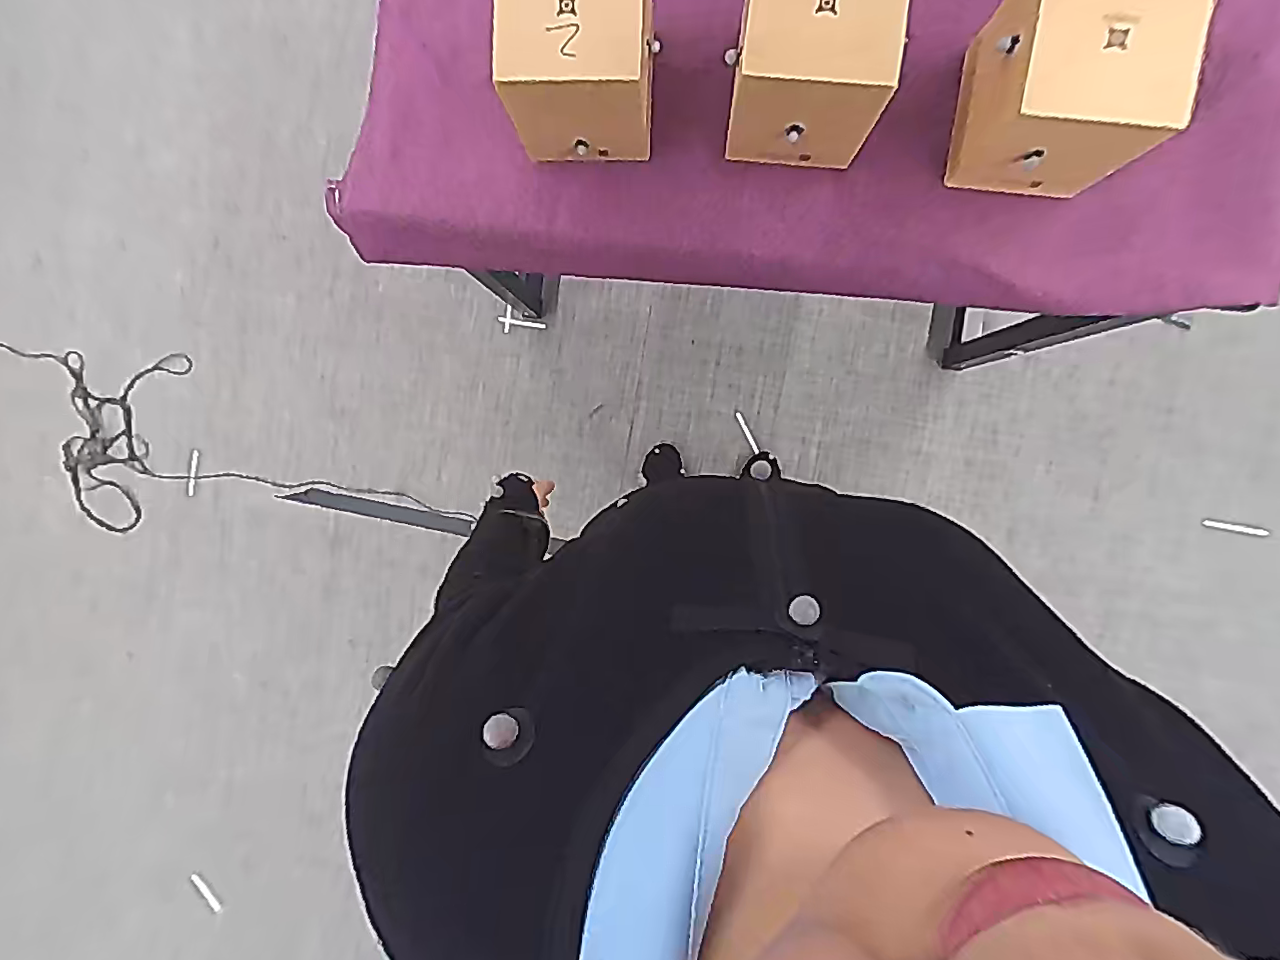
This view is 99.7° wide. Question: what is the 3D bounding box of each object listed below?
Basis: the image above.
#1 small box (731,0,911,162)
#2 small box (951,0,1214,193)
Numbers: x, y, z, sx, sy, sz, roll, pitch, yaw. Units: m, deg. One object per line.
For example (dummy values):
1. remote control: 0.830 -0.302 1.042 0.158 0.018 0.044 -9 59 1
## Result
1. small box: 0.205 -0.511 0.643 0.168 0.176 0.179 7 93 3
2. small box: 0.492 -0.461 0.628 0.168 0.176 0.179 8 94 4
